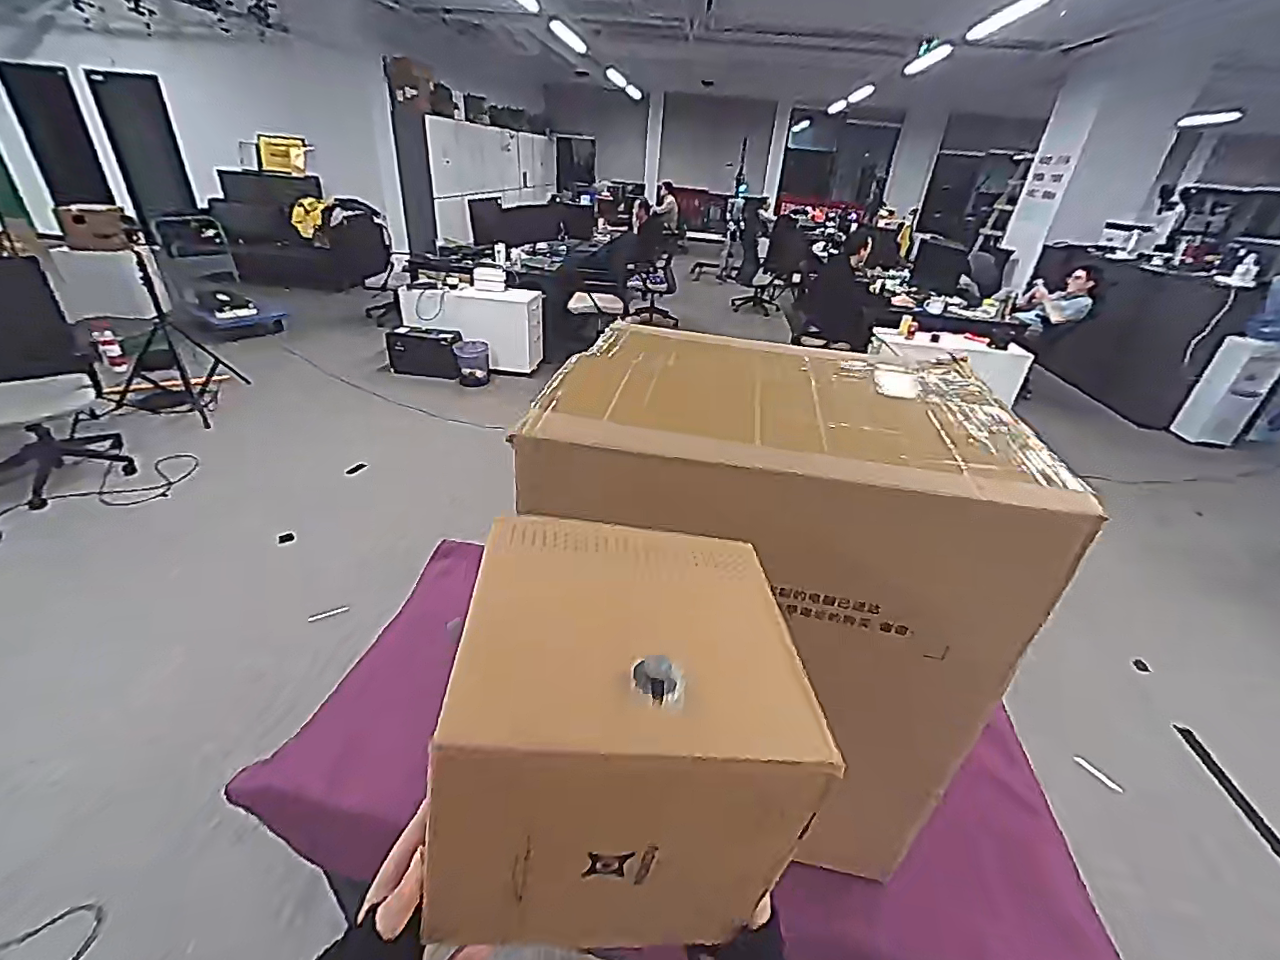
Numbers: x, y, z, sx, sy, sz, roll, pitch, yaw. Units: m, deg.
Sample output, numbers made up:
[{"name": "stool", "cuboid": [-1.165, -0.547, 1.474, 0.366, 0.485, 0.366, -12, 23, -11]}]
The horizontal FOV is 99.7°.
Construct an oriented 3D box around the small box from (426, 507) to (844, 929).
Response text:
[{"name": "small box", "cuboid": [-0.016, 0.131, 0.327, 0.179, 0.168, 0.176, 8, 27, -9]}]
